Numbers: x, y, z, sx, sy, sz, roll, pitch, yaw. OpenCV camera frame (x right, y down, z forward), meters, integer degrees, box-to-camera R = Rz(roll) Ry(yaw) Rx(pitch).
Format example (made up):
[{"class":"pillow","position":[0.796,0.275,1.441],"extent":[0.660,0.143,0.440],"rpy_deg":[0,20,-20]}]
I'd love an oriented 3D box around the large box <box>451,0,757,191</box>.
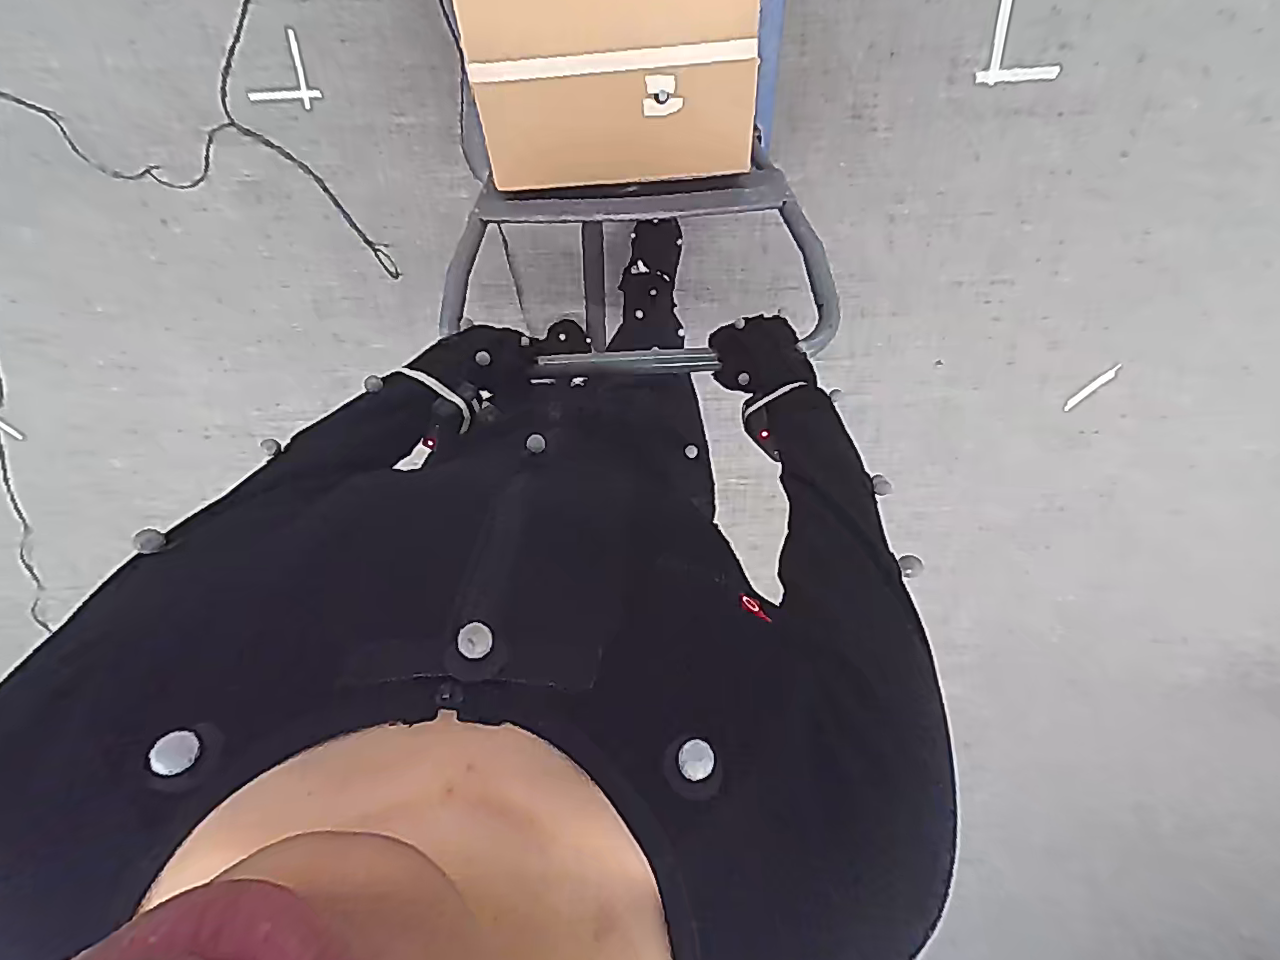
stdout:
[{"class":"large box","position":[-0.049,-0.688,0.850],"extent":[0.408,0.320,0.320],"rpy_deg":[-5,136,1]}]
